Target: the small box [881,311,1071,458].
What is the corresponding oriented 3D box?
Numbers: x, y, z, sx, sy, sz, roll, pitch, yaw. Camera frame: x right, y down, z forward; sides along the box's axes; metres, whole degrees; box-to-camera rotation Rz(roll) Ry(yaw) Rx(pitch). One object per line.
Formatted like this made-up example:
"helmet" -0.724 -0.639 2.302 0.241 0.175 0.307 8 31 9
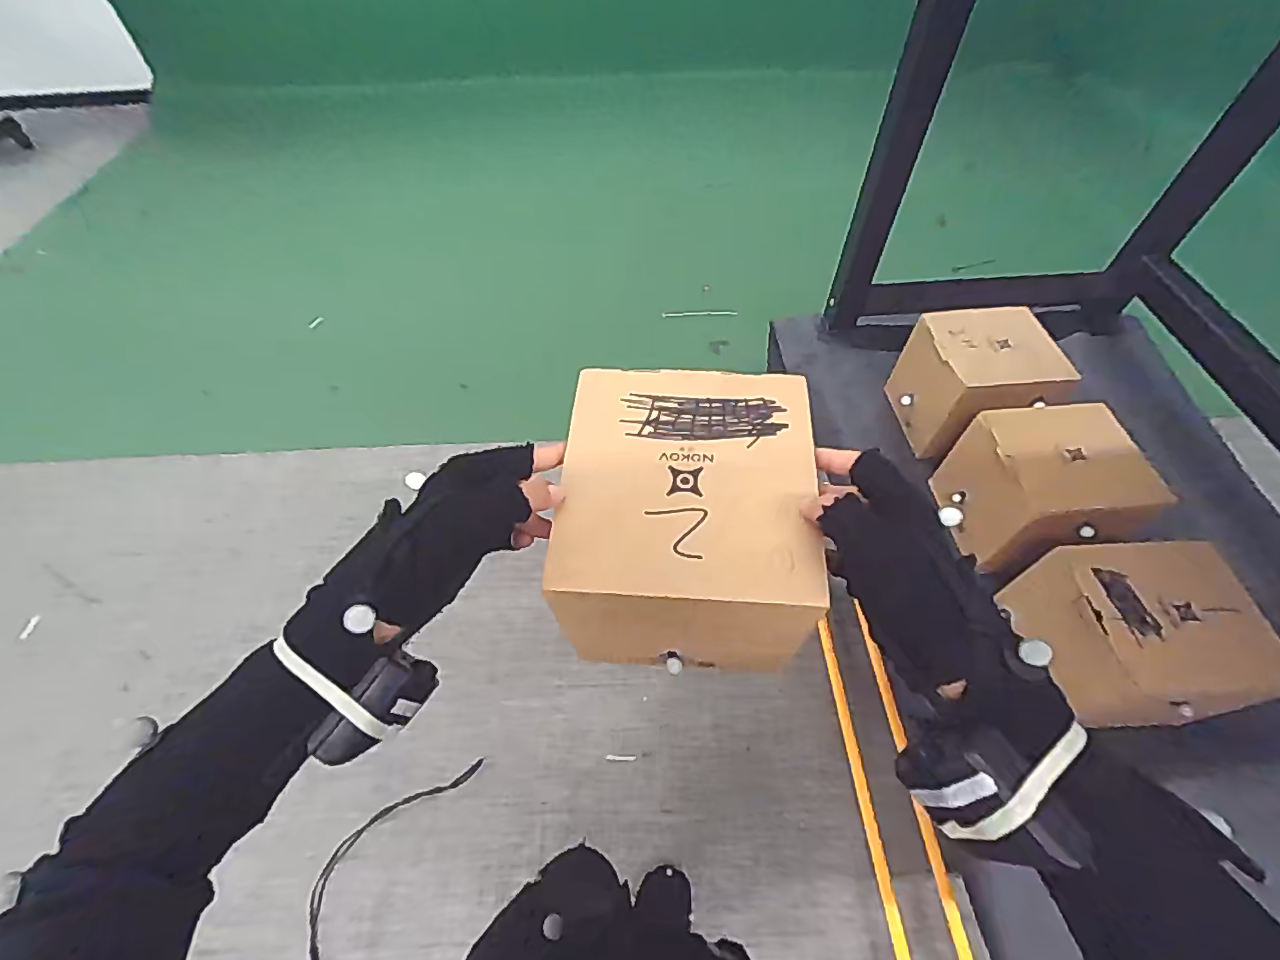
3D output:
"small box" 0.529 -0.151 0.881 0.179 0.176 0.168 -4 55 -2
